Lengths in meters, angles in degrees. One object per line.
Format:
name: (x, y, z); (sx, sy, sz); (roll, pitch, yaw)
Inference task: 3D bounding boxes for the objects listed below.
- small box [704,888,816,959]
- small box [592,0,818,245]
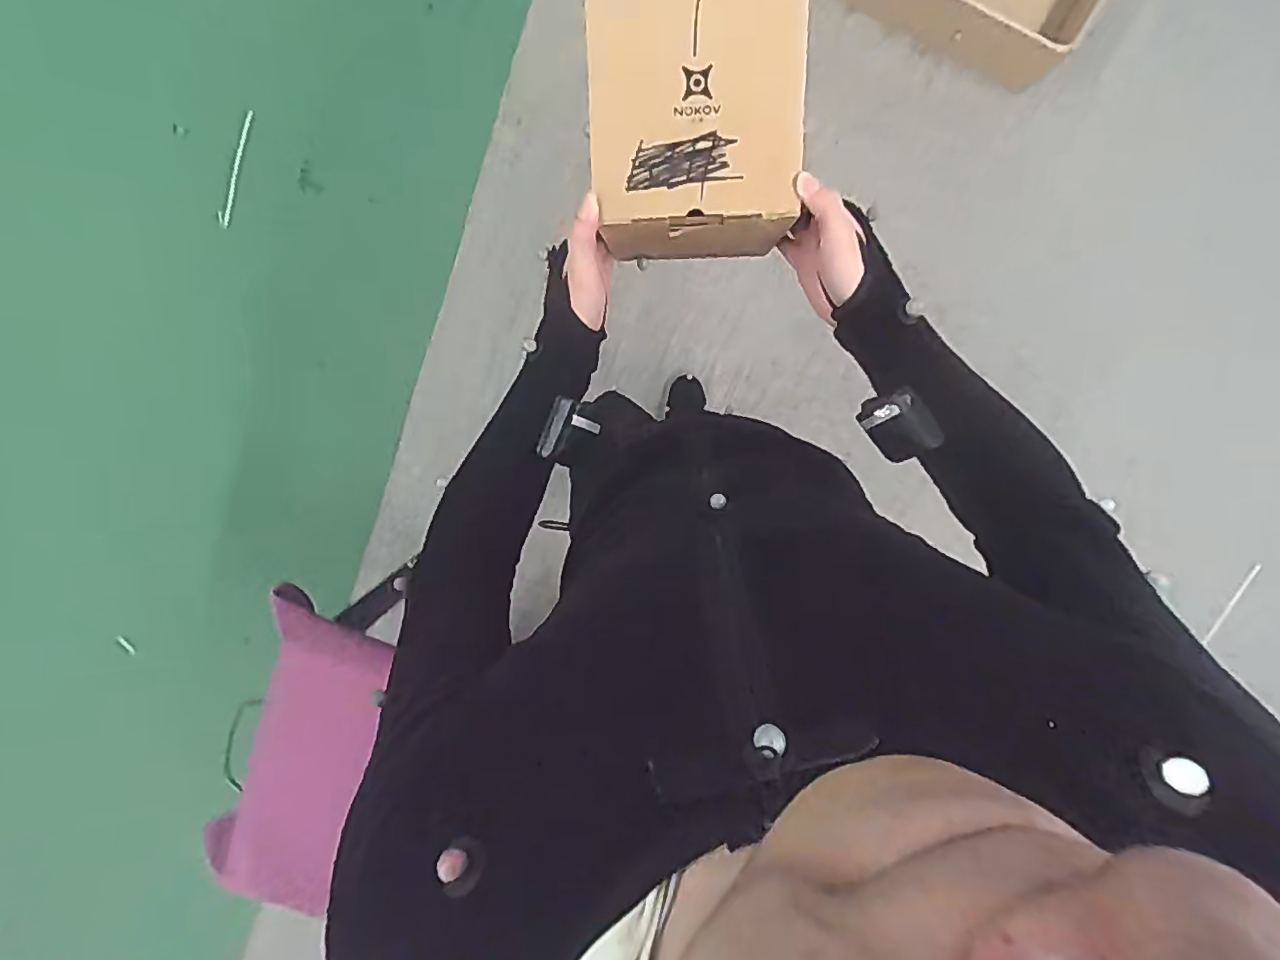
small box: (0.217, 0.899, 0.975); (0.168, 0.176, 0.179); (17, 101, 0)
small box: (0.051, -0.313, 0.477); (0.168, 0.176, 0.179); (0, 101, 3)
